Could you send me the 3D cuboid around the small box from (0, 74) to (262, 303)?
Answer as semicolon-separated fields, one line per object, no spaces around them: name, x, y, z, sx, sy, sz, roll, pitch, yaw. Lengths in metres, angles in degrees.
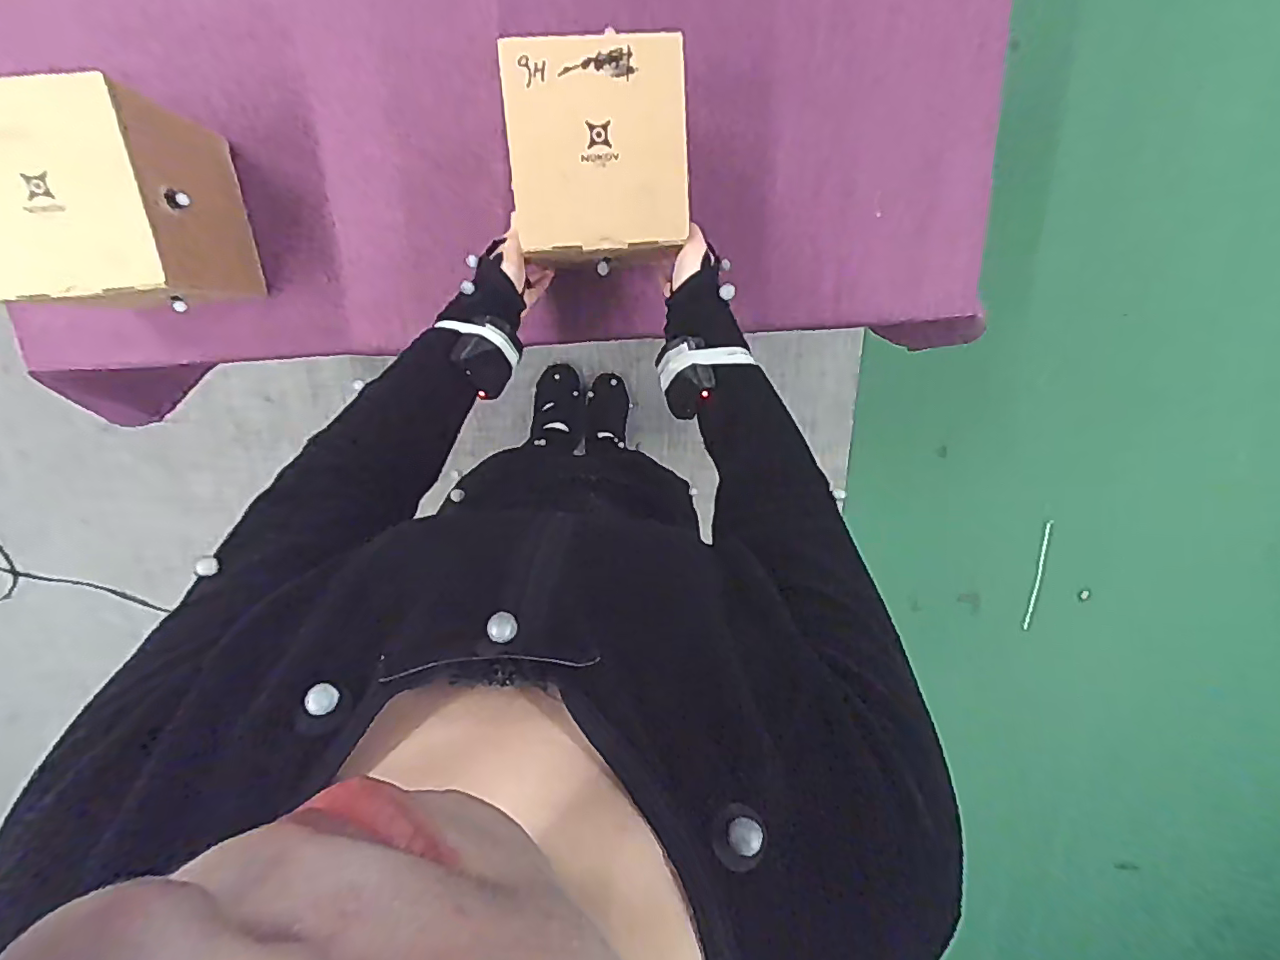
small box;-0.530;-0.277;0.553;0.168;0.176;0.179;-5;105;-4

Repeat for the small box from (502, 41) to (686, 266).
small box;-0.043;-0.328;0.579;0.168;0.176;0.179;-4;107;-4
